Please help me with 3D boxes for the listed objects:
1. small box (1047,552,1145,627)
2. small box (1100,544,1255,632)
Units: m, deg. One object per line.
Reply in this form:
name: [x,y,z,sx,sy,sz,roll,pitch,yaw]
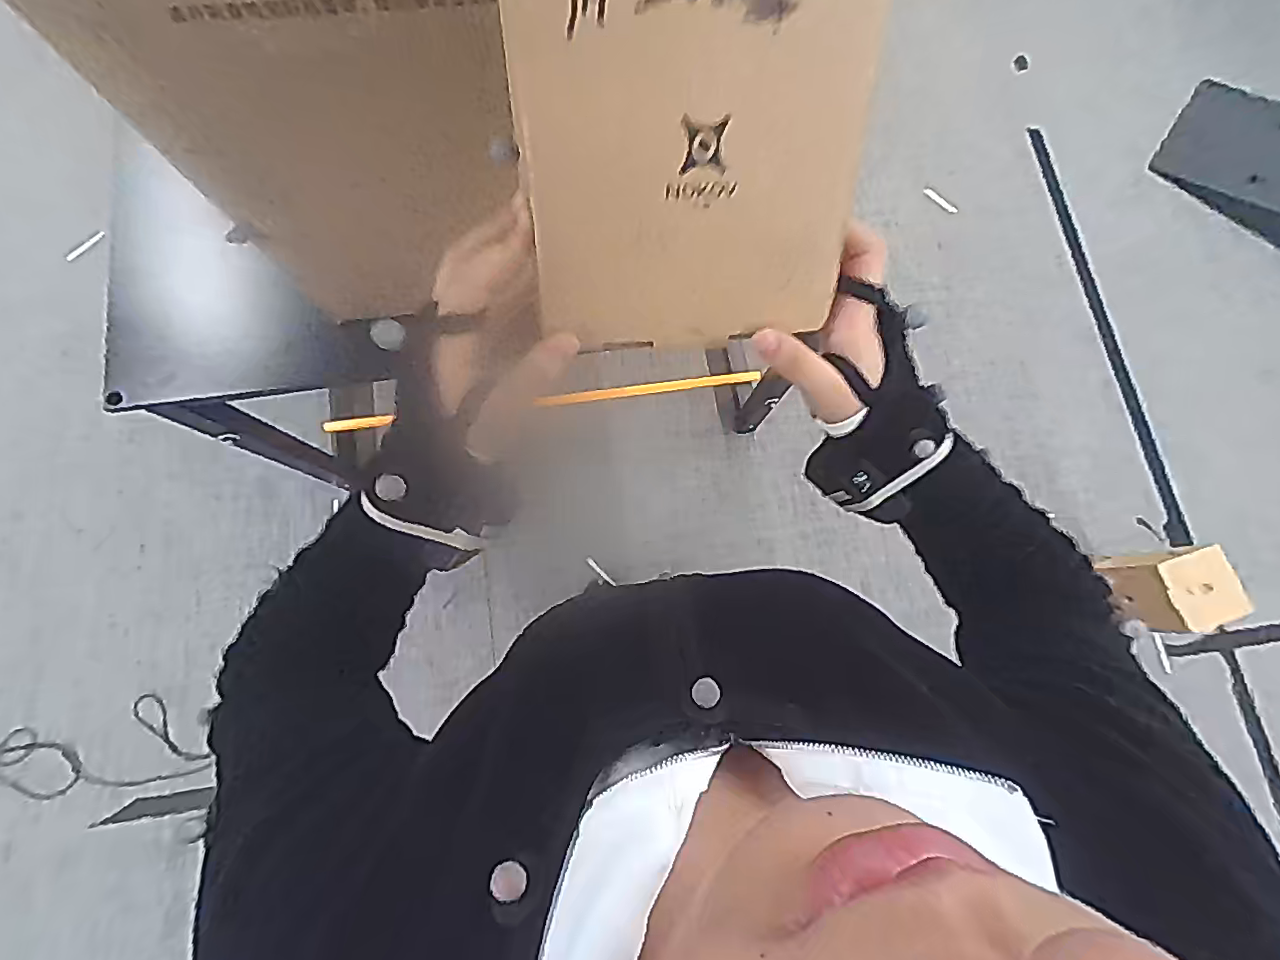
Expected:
small box: [1.275,0.298,1.478,0.179,0.176,0.168,-12,77,-4]
small box: [1.295,0.263,1.317,0.179,0.176,0.168,-16,78,-6]
